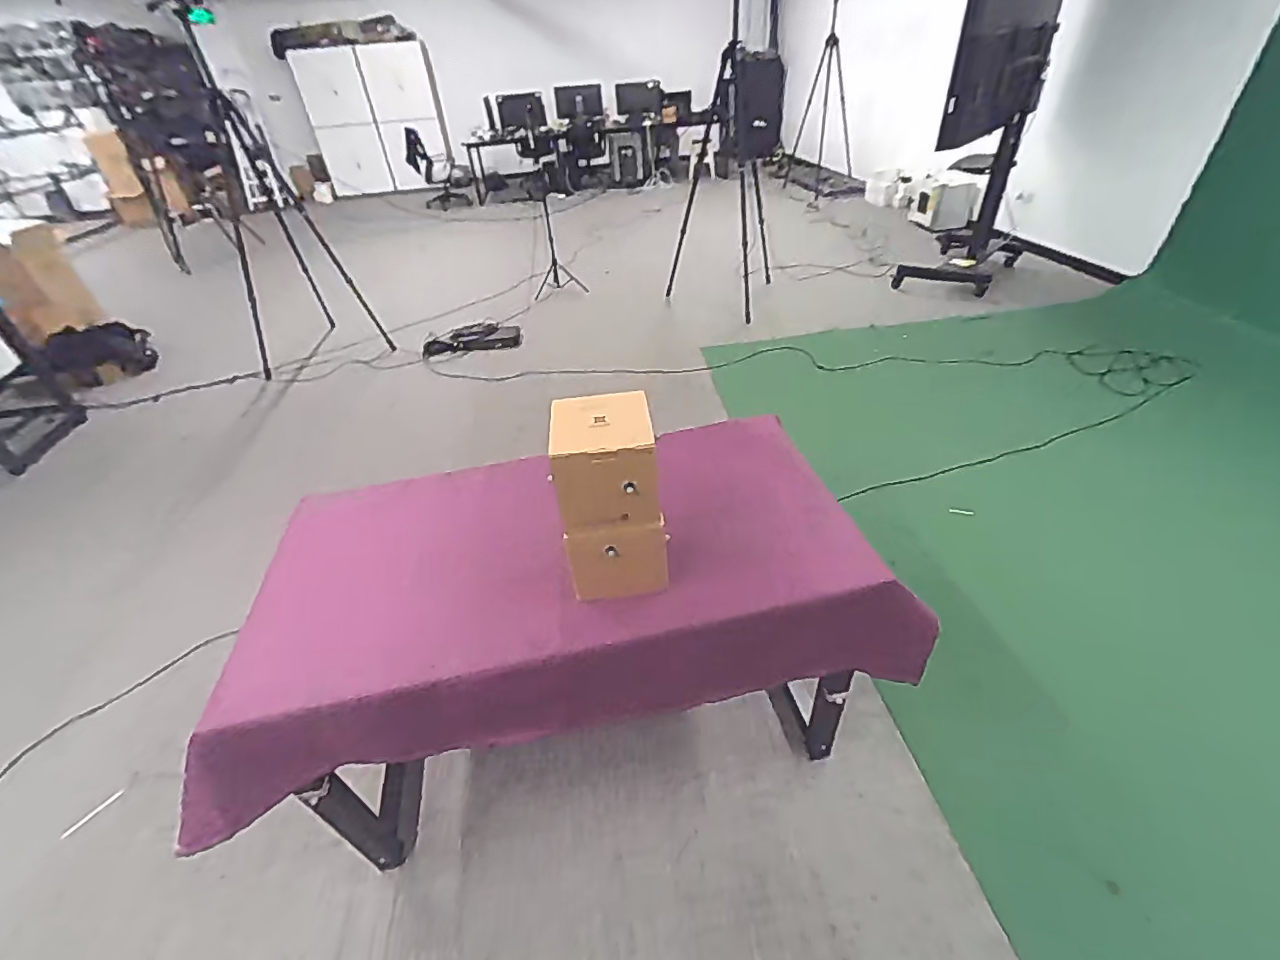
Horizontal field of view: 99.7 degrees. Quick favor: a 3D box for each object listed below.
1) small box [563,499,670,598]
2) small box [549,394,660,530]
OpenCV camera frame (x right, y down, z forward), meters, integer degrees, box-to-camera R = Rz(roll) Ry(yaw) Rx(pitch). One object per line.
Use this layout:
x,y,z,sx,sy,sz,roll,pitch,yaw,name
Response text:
-0.043,0.107,1.028,0.179,0.176,0.168,-7,38,-1,small box
-0.057,-0.026,0.935,0.168,0.176,0.179,-6,37,-1,small box
